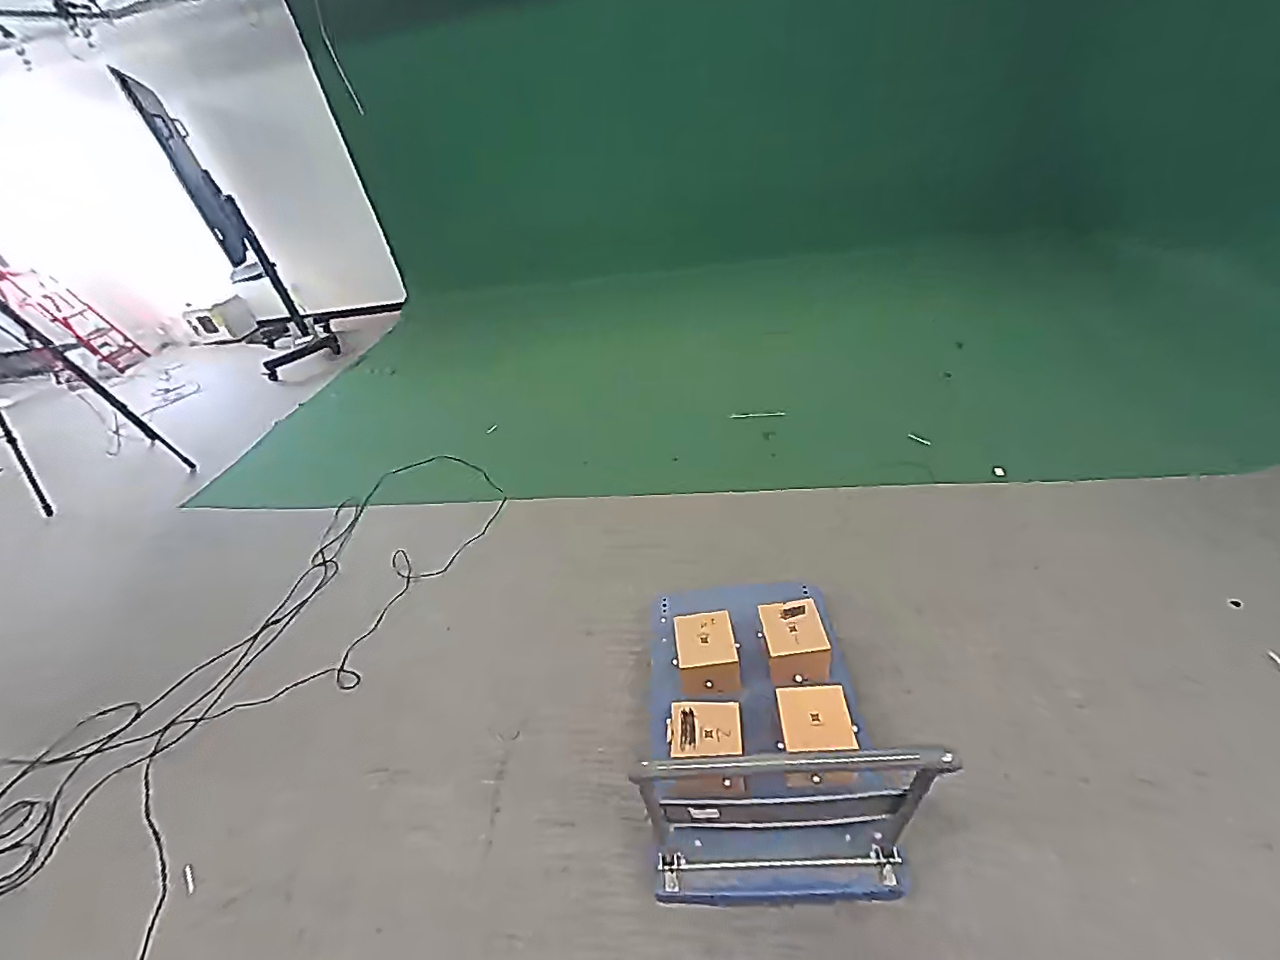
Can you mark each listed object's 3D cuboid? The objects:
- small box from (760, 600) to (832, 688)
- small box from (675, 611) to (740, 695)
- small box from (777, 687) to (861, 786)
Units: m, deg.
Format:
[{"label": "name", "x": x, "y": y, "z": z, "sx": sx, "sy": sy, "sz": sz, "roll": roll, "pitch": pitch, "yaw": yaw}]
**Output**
[{"label": "small box", "x": 0.448, "y": 0.478, "z": 1.579, "sx": 0.168, "sy": 0.176, "sz": 0.179, "roll": -9, "pitch": 39, "yaw": 4}, {"label": "small box", "x": 0.198, "y": 0.516, "z": 1.593, "sx": 0.168, "sy": 0.176, "sz": 0.179, "roll": -7, "pitch": 39, "yaw": 3}, {"label": "small box", "x": 0.444, "y": 0.650, "z": 1.370, "sx": 0.168, "sy": 0.176, "sz": 0.179, "roll": -5, "pitch": 39, "yaw": 7}]
